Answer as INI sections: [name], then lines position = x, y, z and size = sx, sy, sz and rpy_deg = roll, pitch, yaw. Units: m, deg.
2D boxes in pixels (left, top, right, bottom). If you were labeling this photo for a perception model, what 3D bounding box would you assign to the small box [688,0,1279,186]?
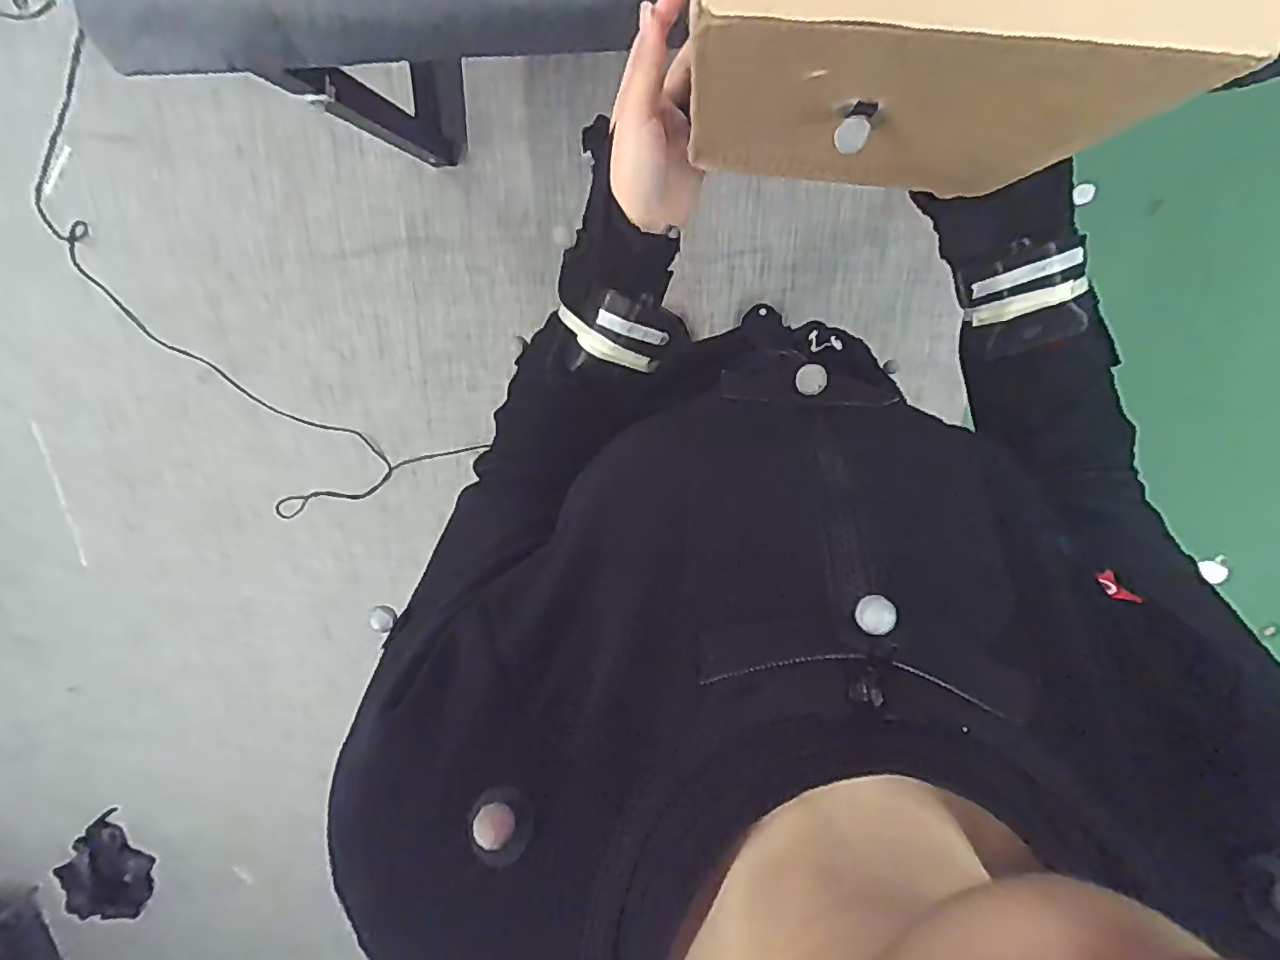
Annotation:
[small box]
position = 0.117, -0.234, 0.221
size = 0.179, 0.176, 0.168
rpy_deg = 7, 106, 4
